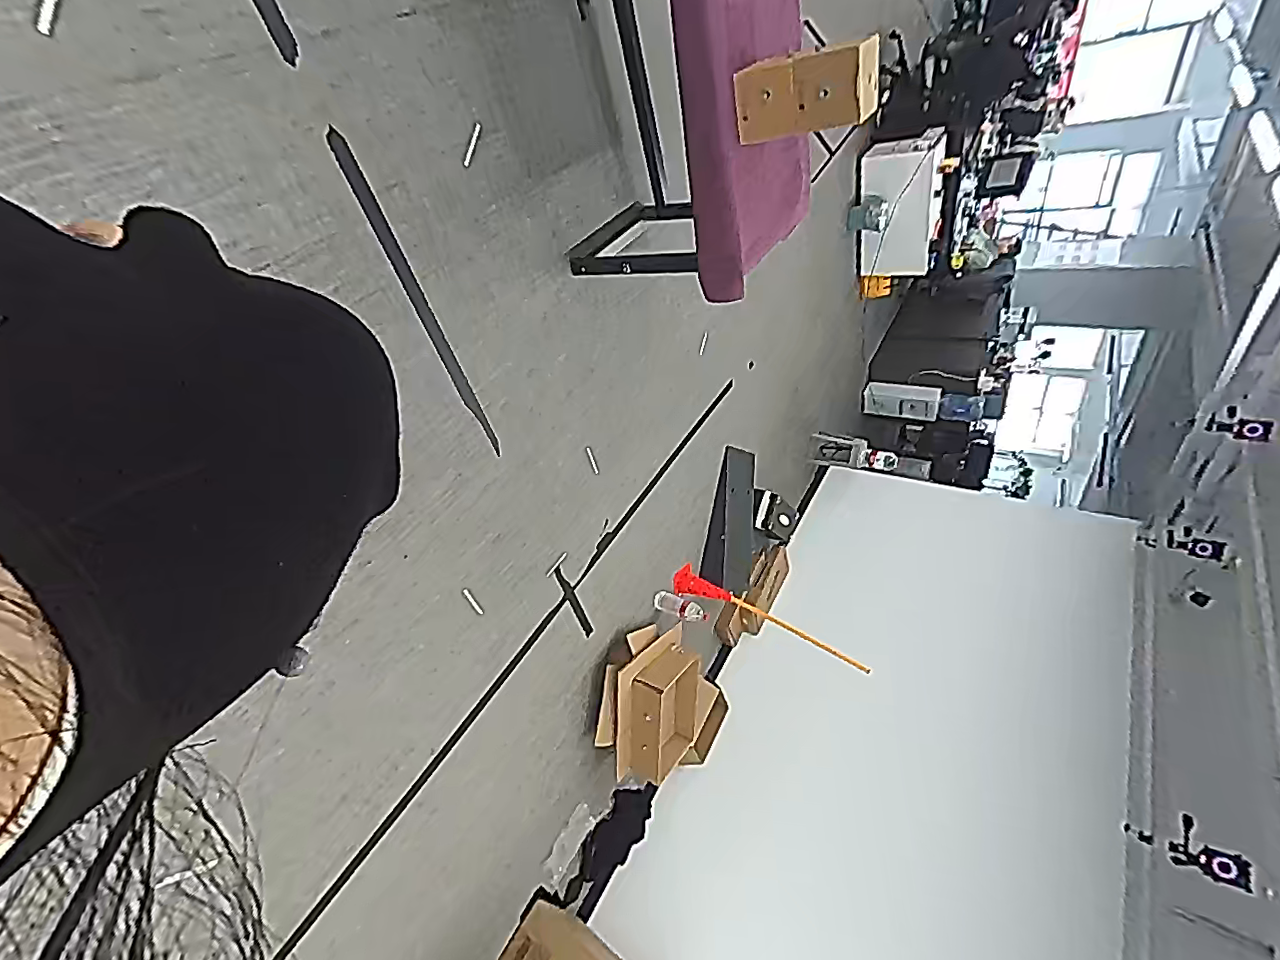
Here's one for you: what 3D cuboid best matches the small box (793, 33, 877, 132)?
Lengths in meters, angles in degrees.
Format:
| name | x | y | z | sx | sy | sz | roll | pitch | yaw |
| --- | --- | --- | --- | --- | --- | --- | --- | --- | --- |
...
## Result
| name | x | y | z | sx | sy | sz | roll | pitch | yaw |
| --- | --- | --- | --- | --- | --- | --- | --- | --- | --- |
| small box | 0.509 | -1.037 | 1.417 | 0.179 | 0.176 | 0.168 | -50 | 138 | -35 |

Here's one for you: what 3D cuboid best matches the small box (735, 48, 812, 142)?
| name | x | y | z | sx | sy | sz | roll | pitch | yaw |
| --- | --- | --- | --- | --- | --- | --- | --- | --- | --- |
| small box | 0.372 | -1.066 | 1.504 | 0.179 | 0.176 | 0.168 | -51 | 139 | -34 |
